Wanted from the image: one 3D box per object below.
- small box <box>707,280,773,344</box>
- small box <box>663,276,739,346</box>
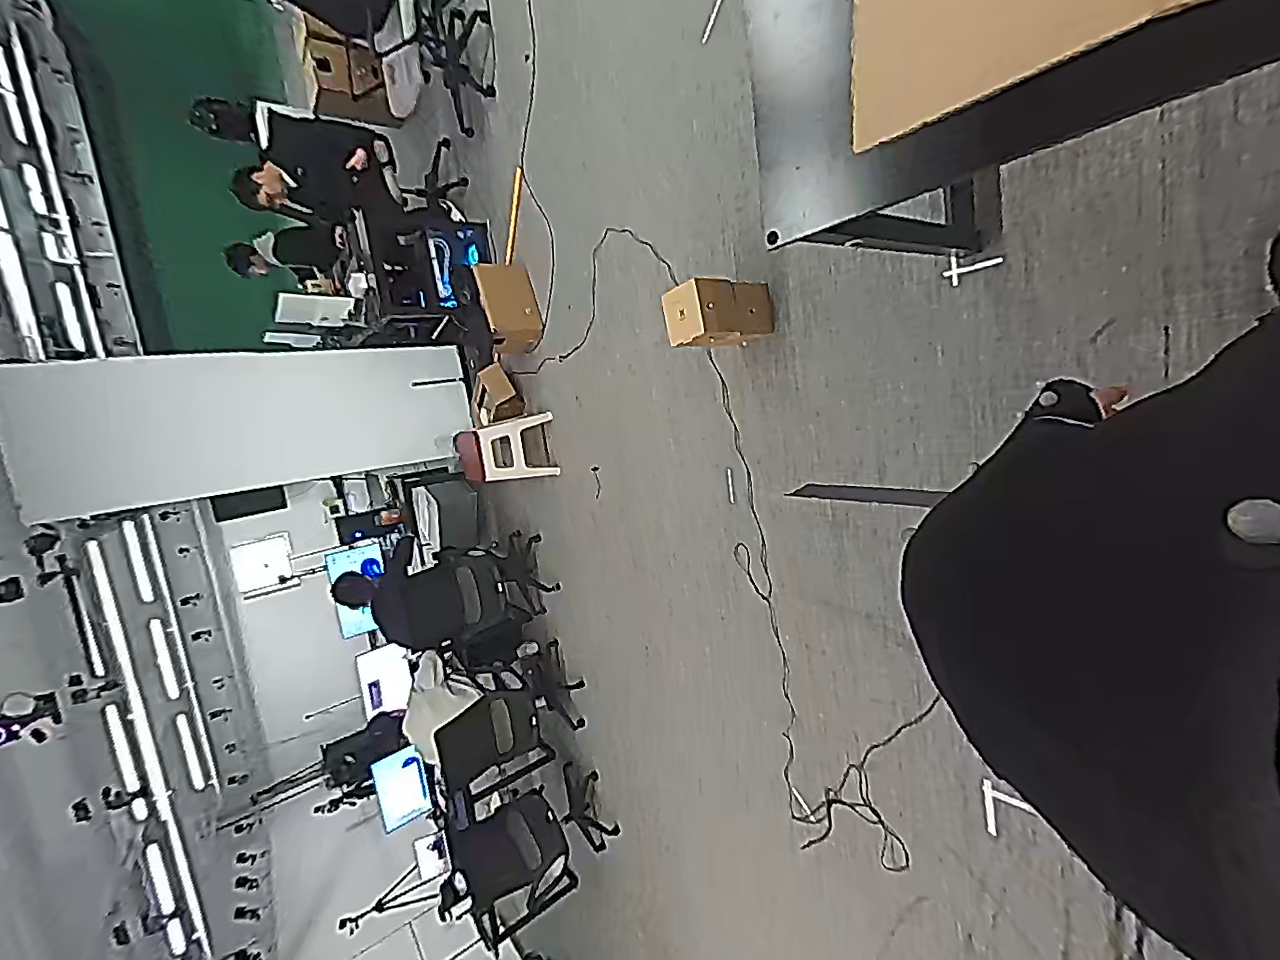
[{"bbox_3d":[0.334,-0.572,1.855,0.168,0.176,0.179,-3,99,54],"label":"small box"},{"bbox_3d":[0.204,-0.548,1.760,0.168,0.176,0.179,-7,94,54],"label":"small box"}]
